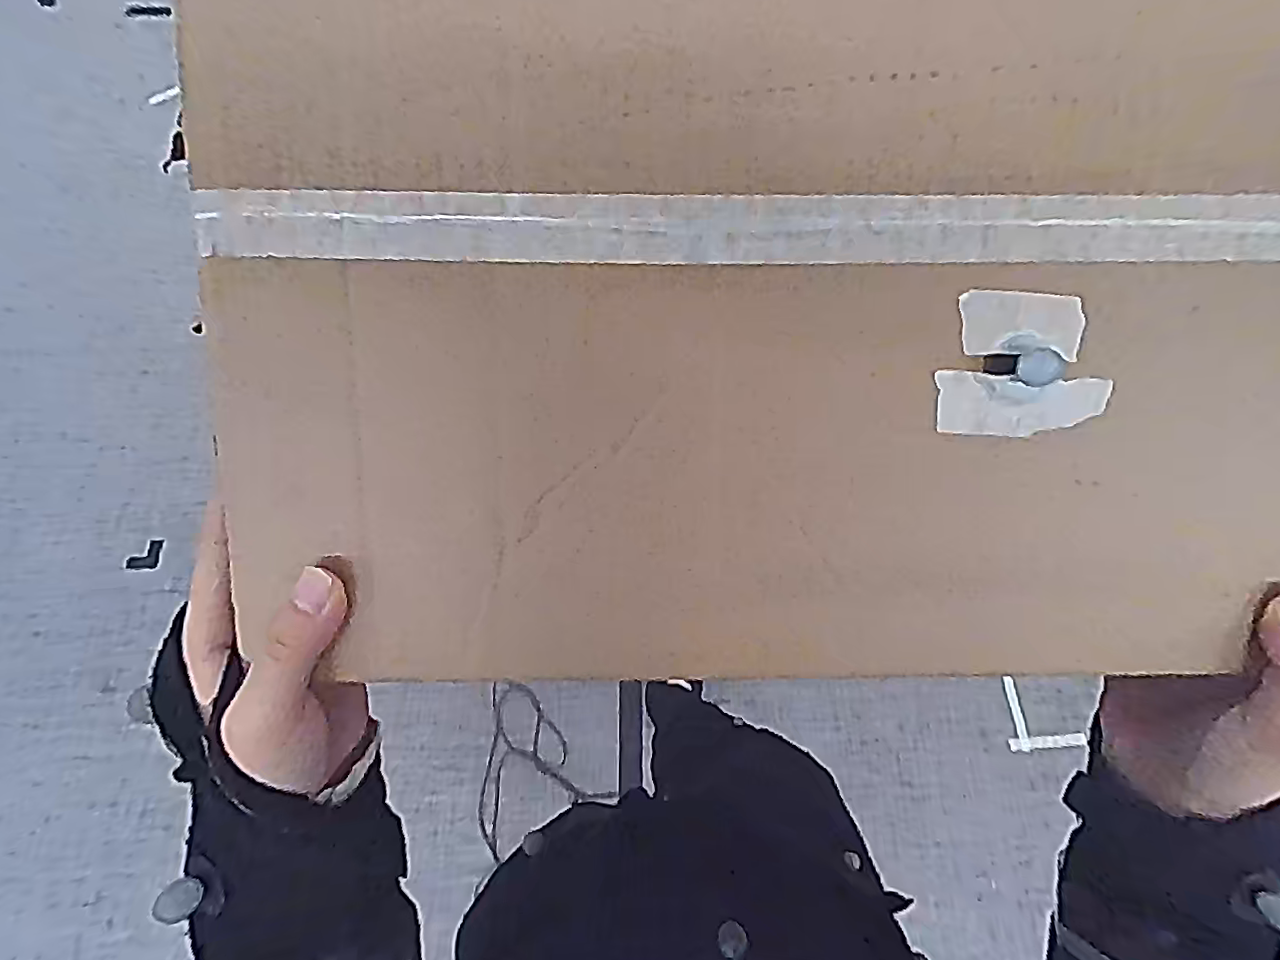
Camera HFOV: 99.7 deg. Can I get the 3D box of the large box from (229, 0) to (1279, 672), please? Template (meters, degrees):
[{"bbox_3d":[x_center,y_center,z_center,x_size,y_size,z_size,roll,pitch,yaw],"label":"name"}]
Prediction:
[{"bbox_3d":[0.056,-0.099,0.340,0.408,0.320,0.320,-1,97,-2],"label":"large box"}]
